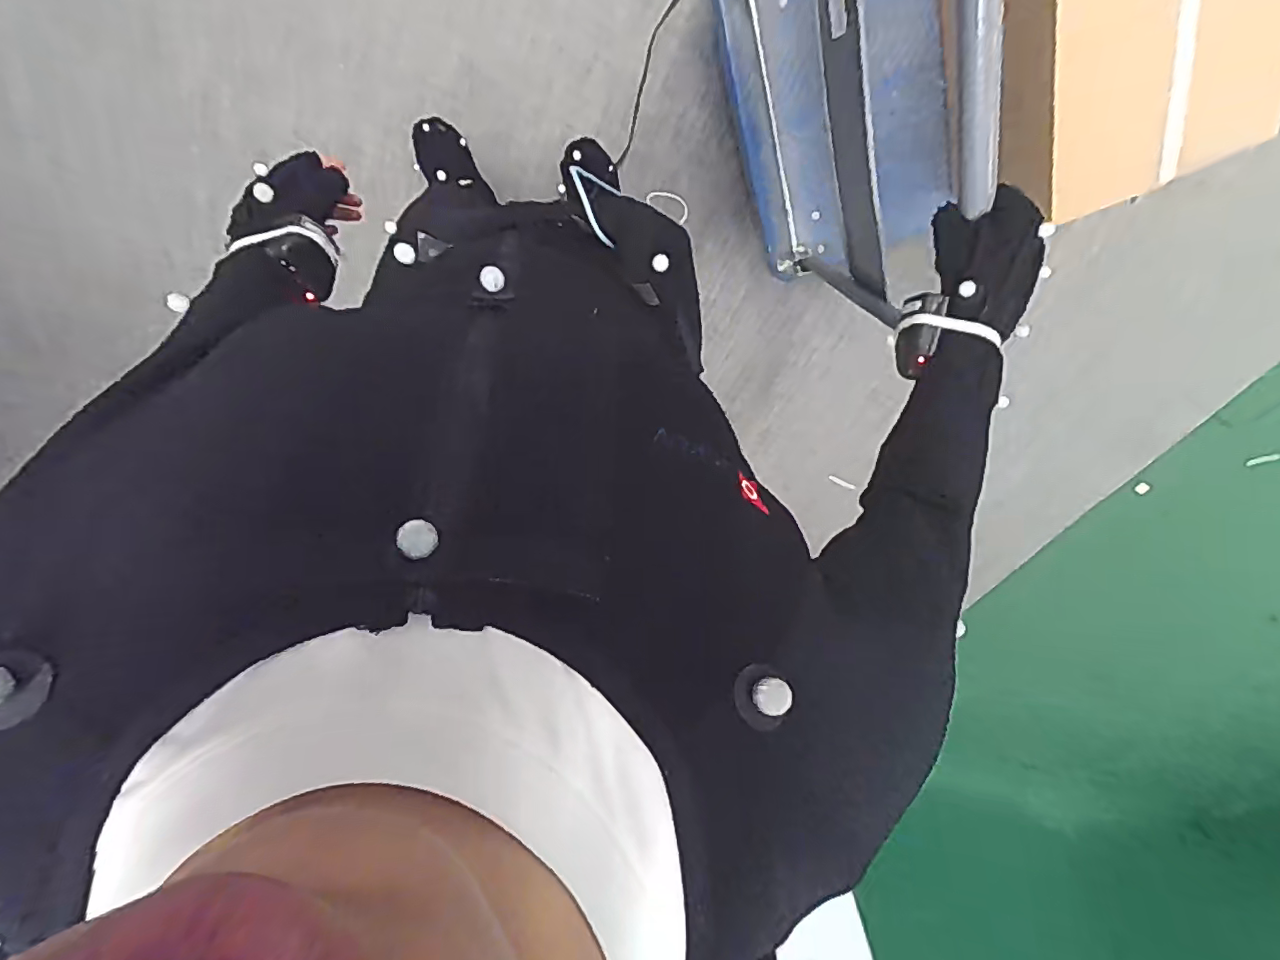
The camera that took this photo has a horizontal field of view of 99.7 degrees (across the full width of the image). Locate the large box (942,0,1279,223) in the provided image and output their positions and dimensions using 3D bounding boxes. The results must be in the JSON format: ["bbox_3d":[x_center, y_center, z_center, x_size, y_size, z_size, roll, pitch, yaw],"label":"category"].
[{"bbox_3d":[0.700,-0.682,0.829,0.320,0.320,0.408,-20,124,11],"label":"large box"}]
